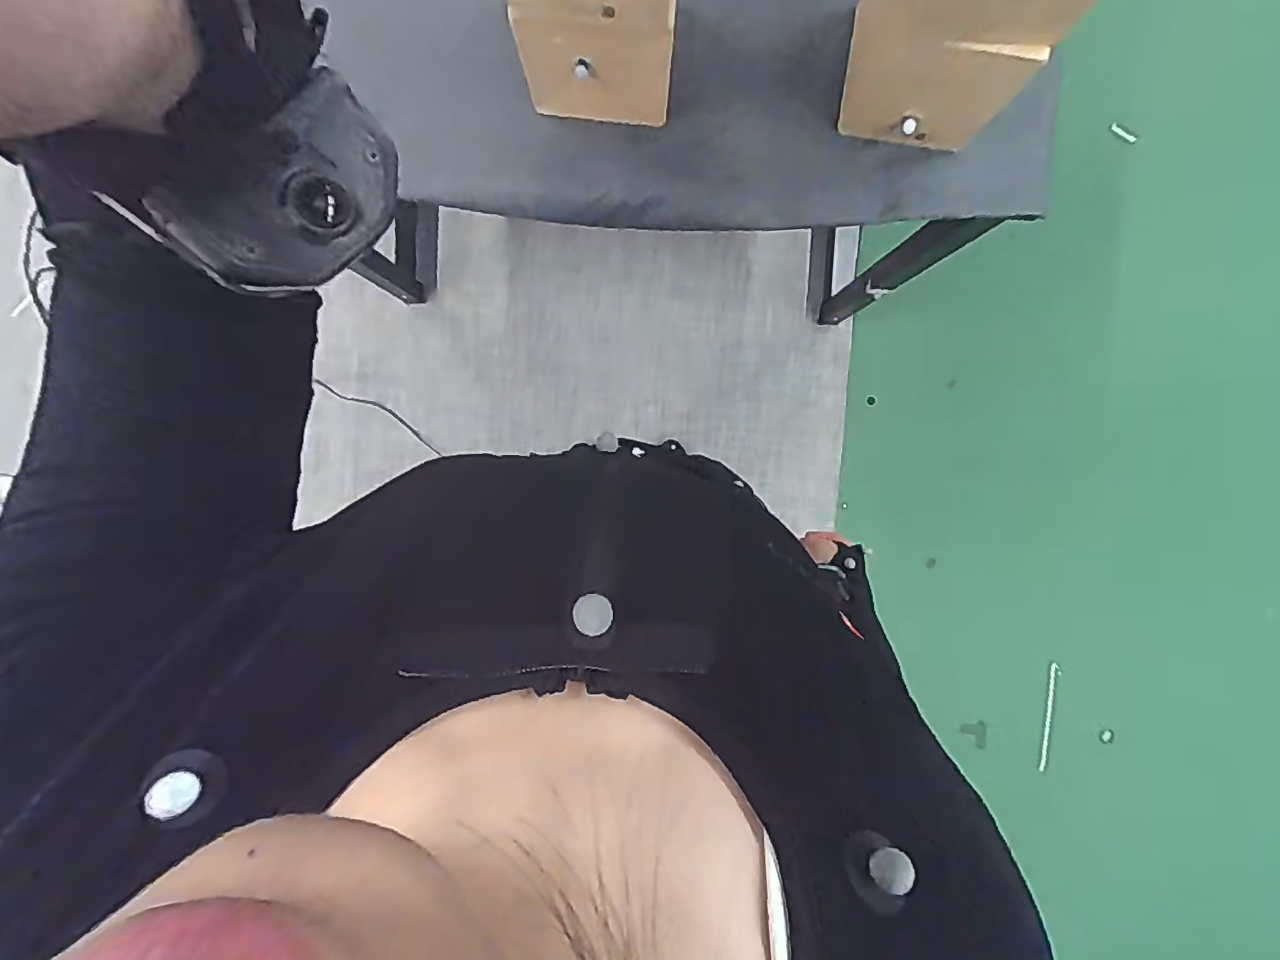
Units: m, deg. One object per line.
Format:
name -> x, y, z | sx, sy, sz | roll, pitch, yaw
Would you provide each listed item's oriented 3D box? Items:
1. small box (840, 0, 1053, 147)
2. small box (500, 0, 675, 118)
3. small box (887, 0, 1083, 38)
small box -> 0.353, -0.537, 0.636 | 0.168, 0.176, 0.179 | 9, 92, 0
small box -> -0.050, -0.562, 0.635 | 0.179, 0.176, 0.168 | 5, 92, 0
small box -> 0.343, -0.534, 0.474 | 0.179, 0.176, 0.168 | 1, 90, 1
